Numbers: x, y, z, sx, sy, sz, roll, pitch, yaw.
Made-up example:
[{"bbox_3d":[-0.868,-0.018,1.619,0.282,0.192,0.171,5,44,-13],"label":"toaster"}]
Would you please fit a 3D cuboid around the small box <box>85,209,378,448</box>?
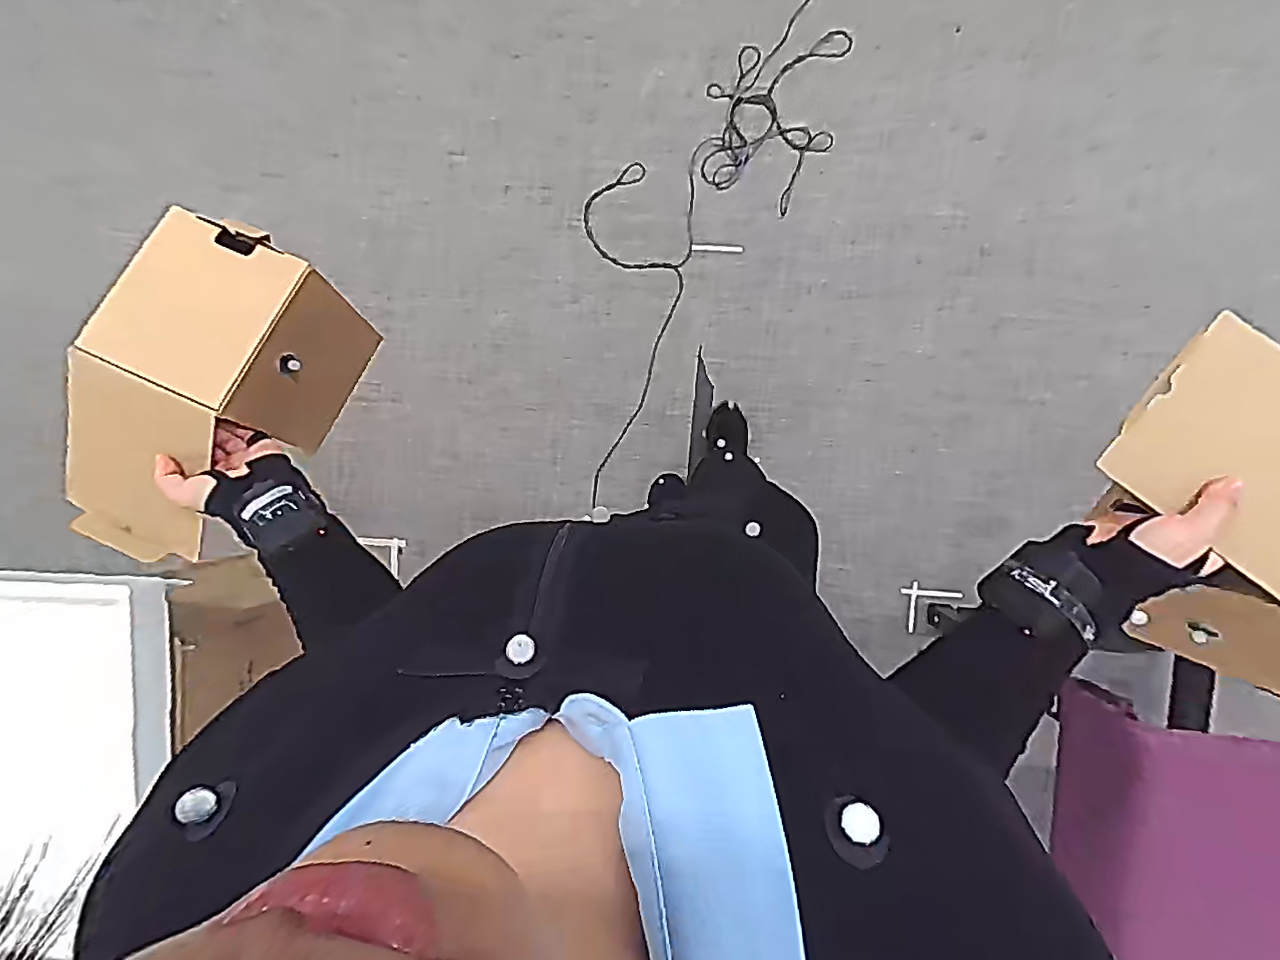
[{"bbox_3d":[-0.438,-0.157,0.617,0.168,0.176,0.179,24,78,4],"label":"small box"}]
